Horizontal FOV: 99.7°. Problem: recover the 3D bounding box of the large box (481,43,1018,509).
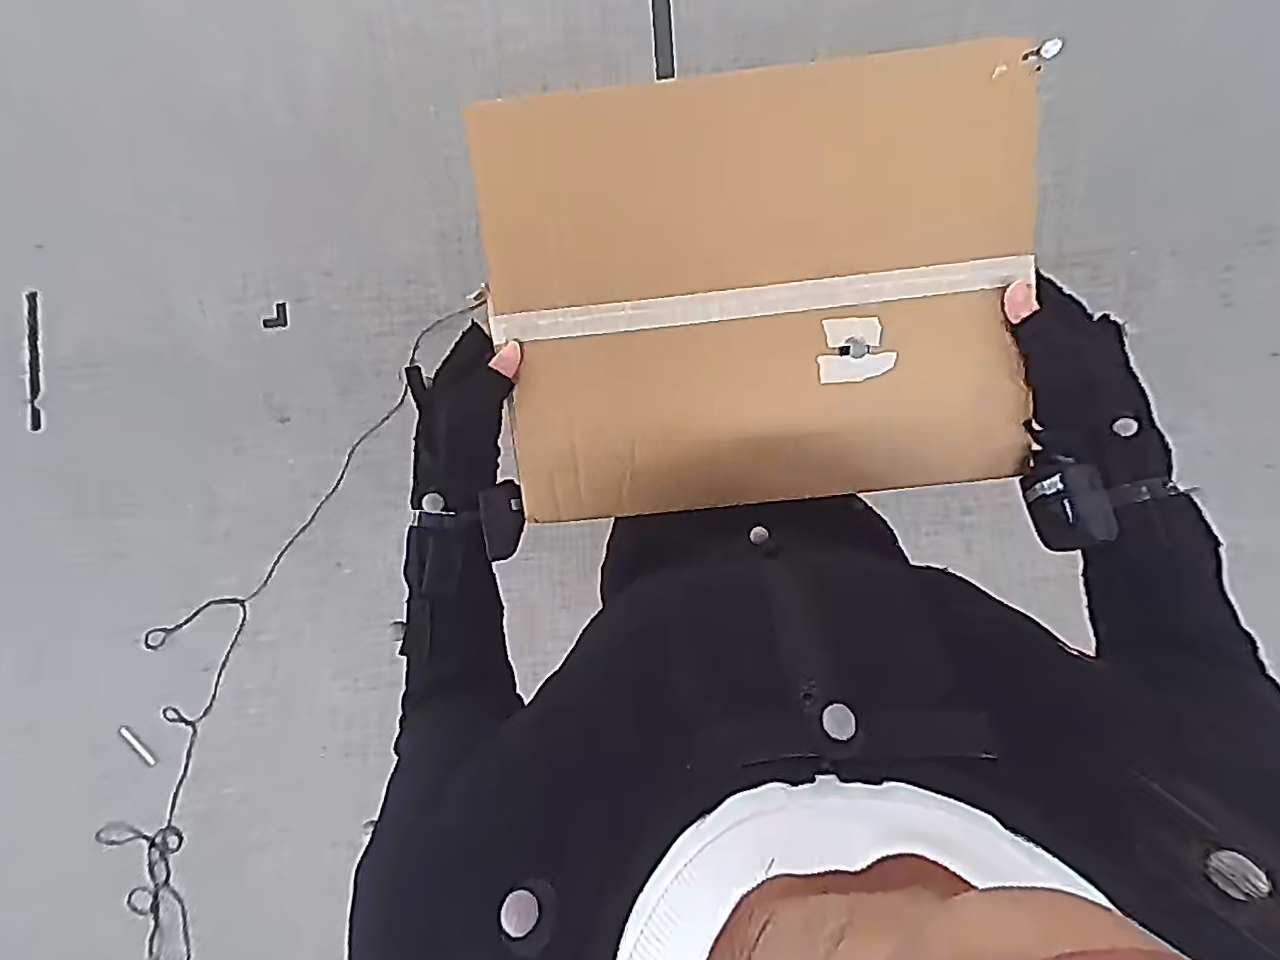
[{"bbox_3d":[0.092,-0.172,0.571,0.408,0.320,0.320,-6,101,1],"label":"large box"}]
